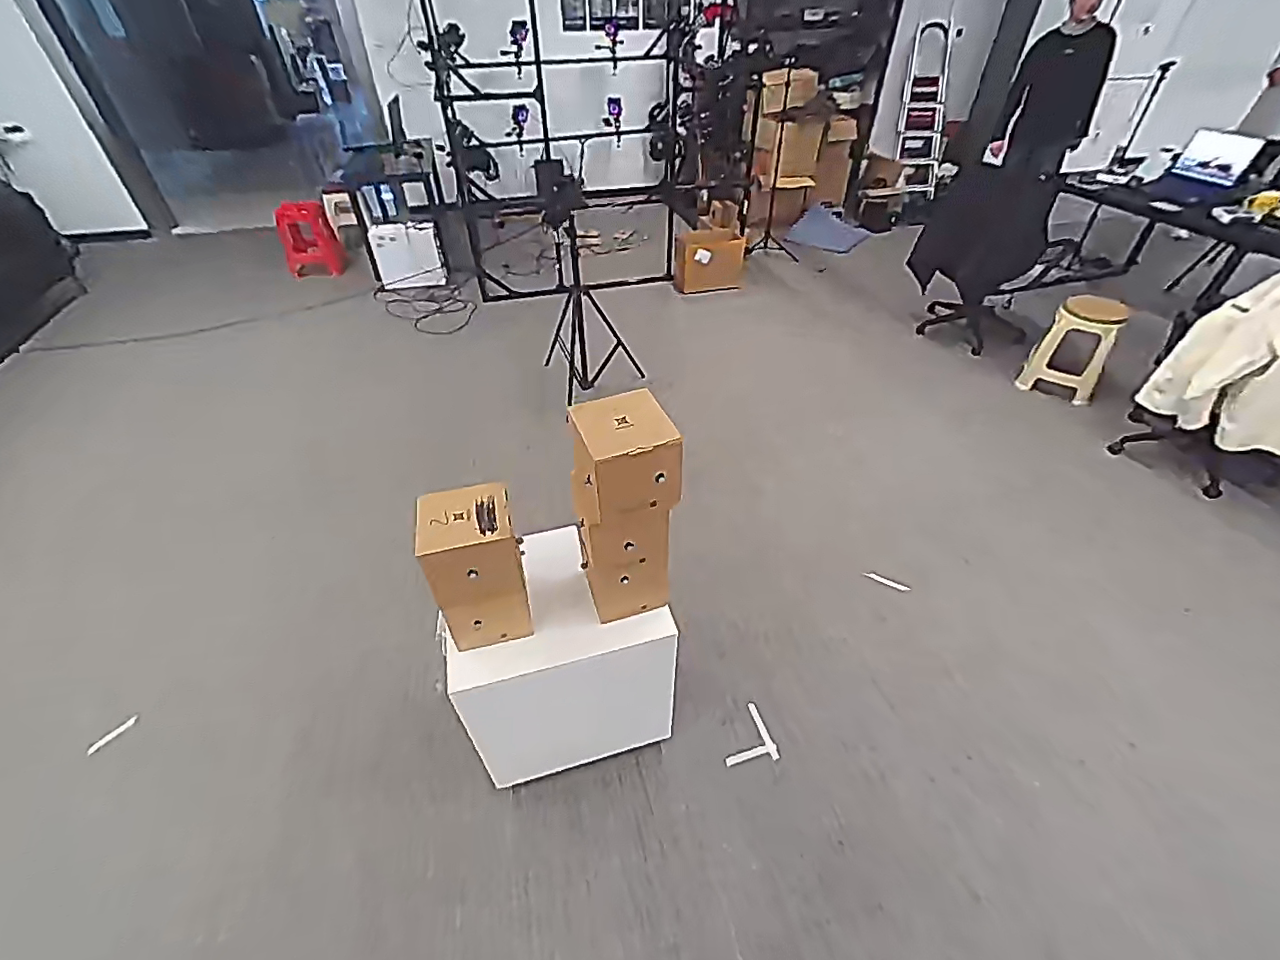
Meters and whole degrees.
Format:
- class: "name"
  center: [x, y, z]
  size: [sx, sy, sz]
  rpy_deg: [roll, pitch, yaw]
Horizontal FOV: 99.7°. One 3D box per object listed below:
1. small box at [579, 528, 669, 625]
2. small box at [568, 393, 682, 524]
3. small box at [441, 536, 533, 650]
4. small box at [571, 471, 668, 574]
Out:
- class: "small box"
  center: [-0.038, 0.203, 1.253]
  size: [0.168, 0.176, 0.179]
  rpy_deg: [-14, 43, -12]
- class: "small box"
  center: [-0.028, -0.036, 1.028]
  size: [0.168, 0.176, 0.179]
  rpy_deg: [-16, 44, -16]
- class: "small box"
  center: [-0.338, 0.256, 1.204]
  size: [0.168, 0.176, 0.179]
  rpy_deg: [-11, 42, -11]
- class: "small box"
  center: [-0.042, 0.080, 1.143]
  size: [0.168, 0.176, 0.179]
  rpy_deg: [-13, 43, -12]
